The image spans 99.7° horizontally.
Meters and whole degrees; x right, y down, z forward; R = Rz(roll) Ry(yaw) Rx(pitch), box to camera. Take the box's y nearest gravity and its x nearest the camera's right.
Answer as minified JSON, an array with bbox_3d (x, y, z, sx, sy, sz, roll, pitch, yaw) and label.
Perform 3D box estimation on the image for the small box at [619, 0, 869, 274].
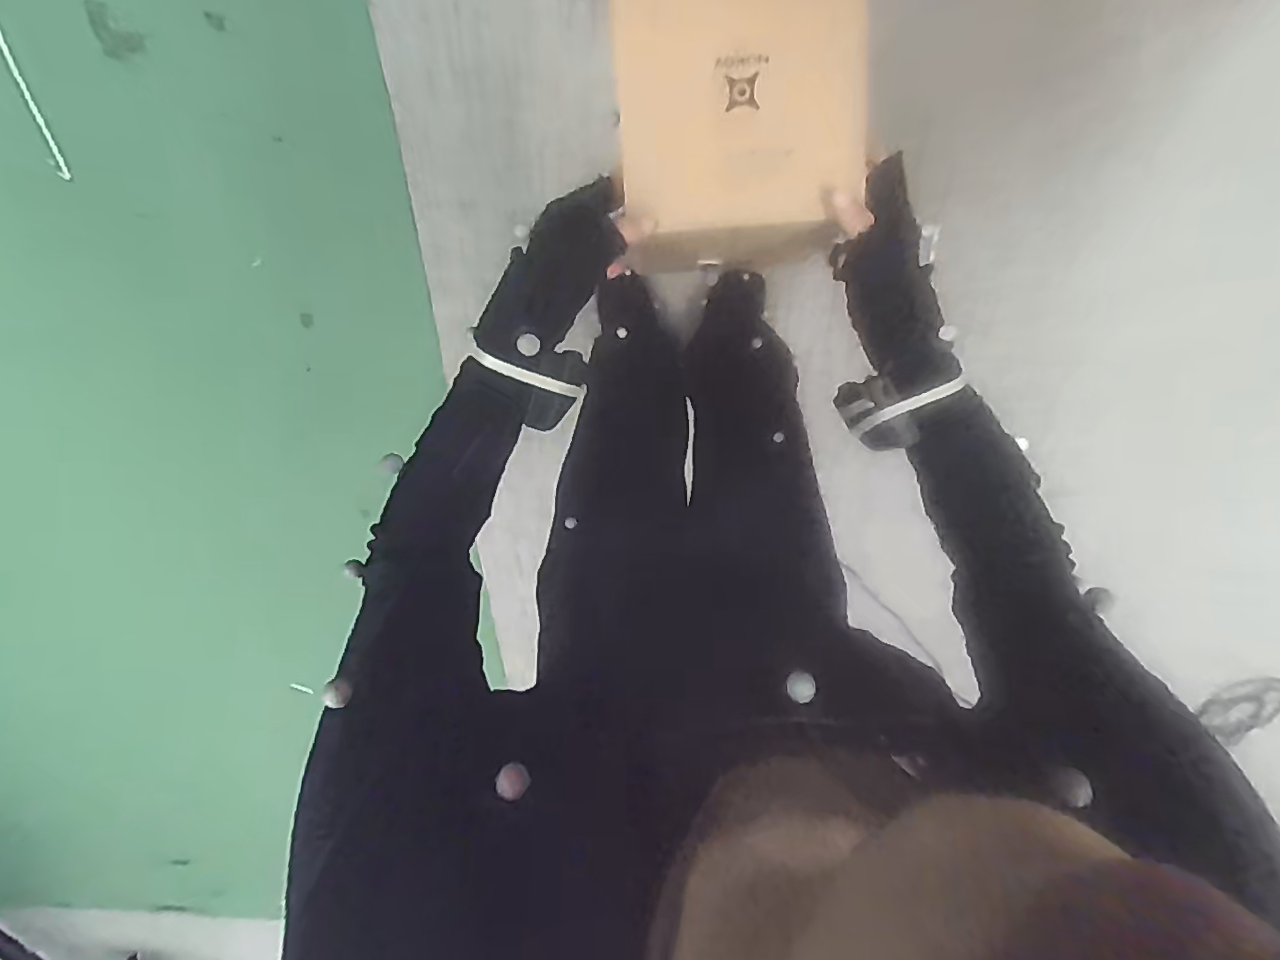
[{"bbox_3d":[0.071,-0.279,0.439,0.168,0.176,0.179,-3,100,3],"label":"small box"}]
